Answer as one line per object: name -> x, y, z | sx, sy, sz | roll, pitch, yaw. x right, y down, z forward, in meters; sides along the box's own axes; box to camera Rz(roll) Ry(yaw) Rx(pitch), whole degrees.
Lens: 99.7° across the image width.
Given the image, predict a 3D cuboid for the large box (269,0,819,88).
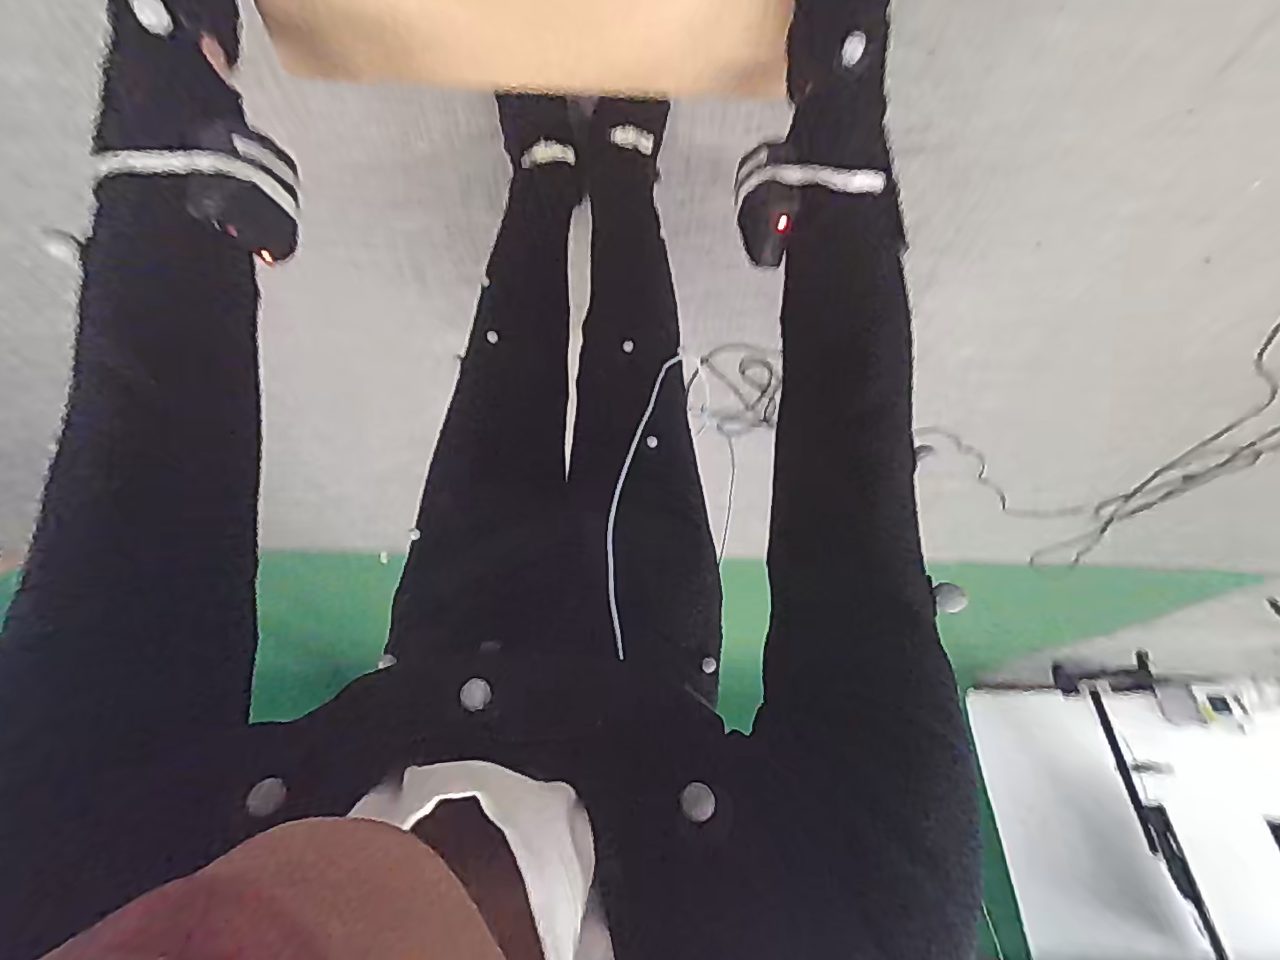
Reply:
large box -> -0.069, -0.526, 0.391 | 0.408, 0.320, 0.320 | 0, 146, -3
